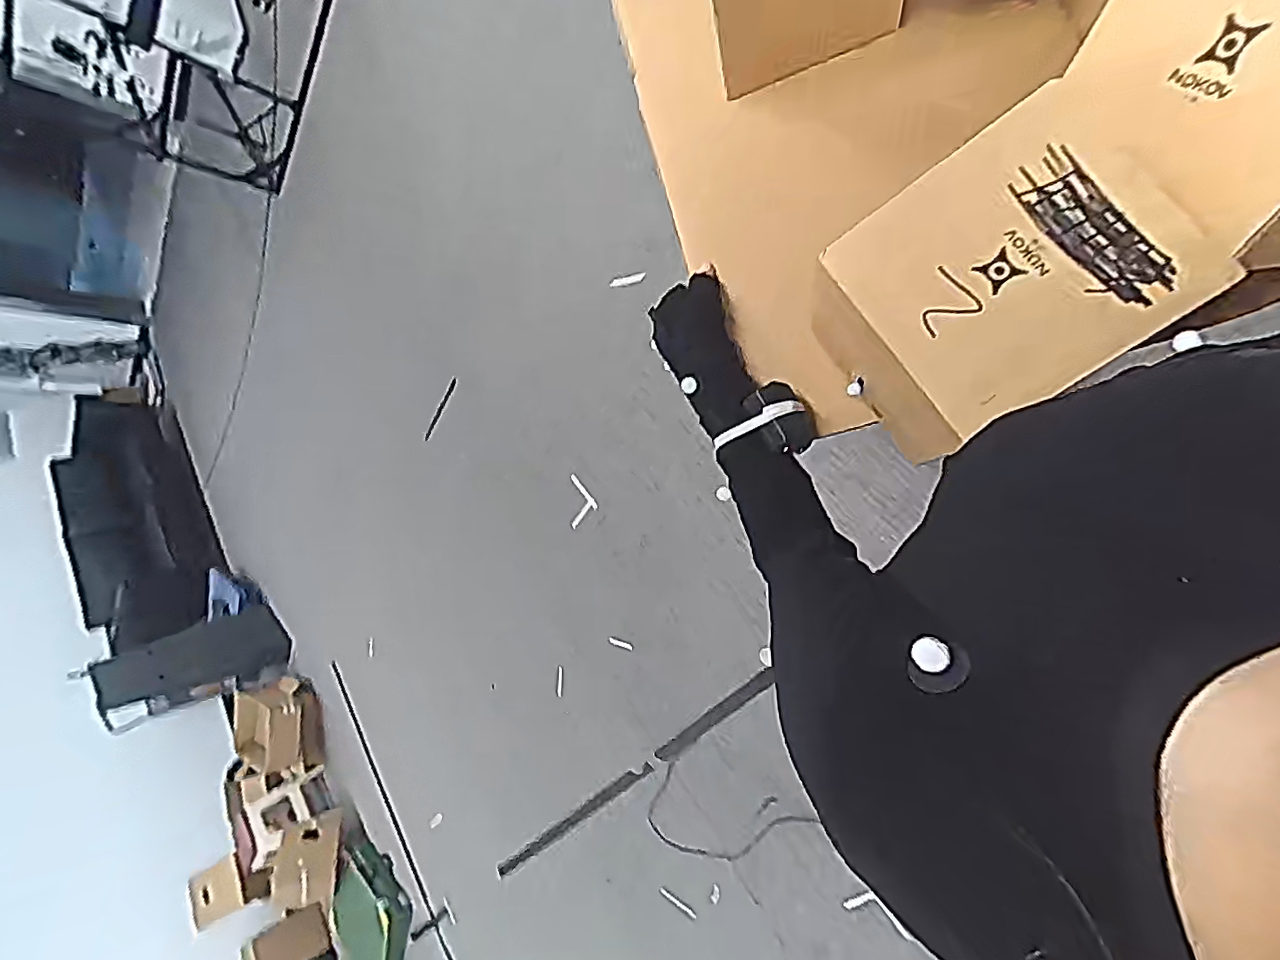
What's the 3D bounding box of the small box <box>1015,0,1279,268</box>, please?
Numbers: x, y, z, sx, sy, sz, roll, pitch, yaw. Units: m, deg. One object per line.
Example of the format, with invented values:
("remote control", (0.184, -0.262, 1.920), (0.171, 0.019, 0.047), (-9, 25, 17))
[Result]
("small box", (0.406, -0.259, 0.340), (0.179, 0.176, 0.168), (101, 150, -47))
